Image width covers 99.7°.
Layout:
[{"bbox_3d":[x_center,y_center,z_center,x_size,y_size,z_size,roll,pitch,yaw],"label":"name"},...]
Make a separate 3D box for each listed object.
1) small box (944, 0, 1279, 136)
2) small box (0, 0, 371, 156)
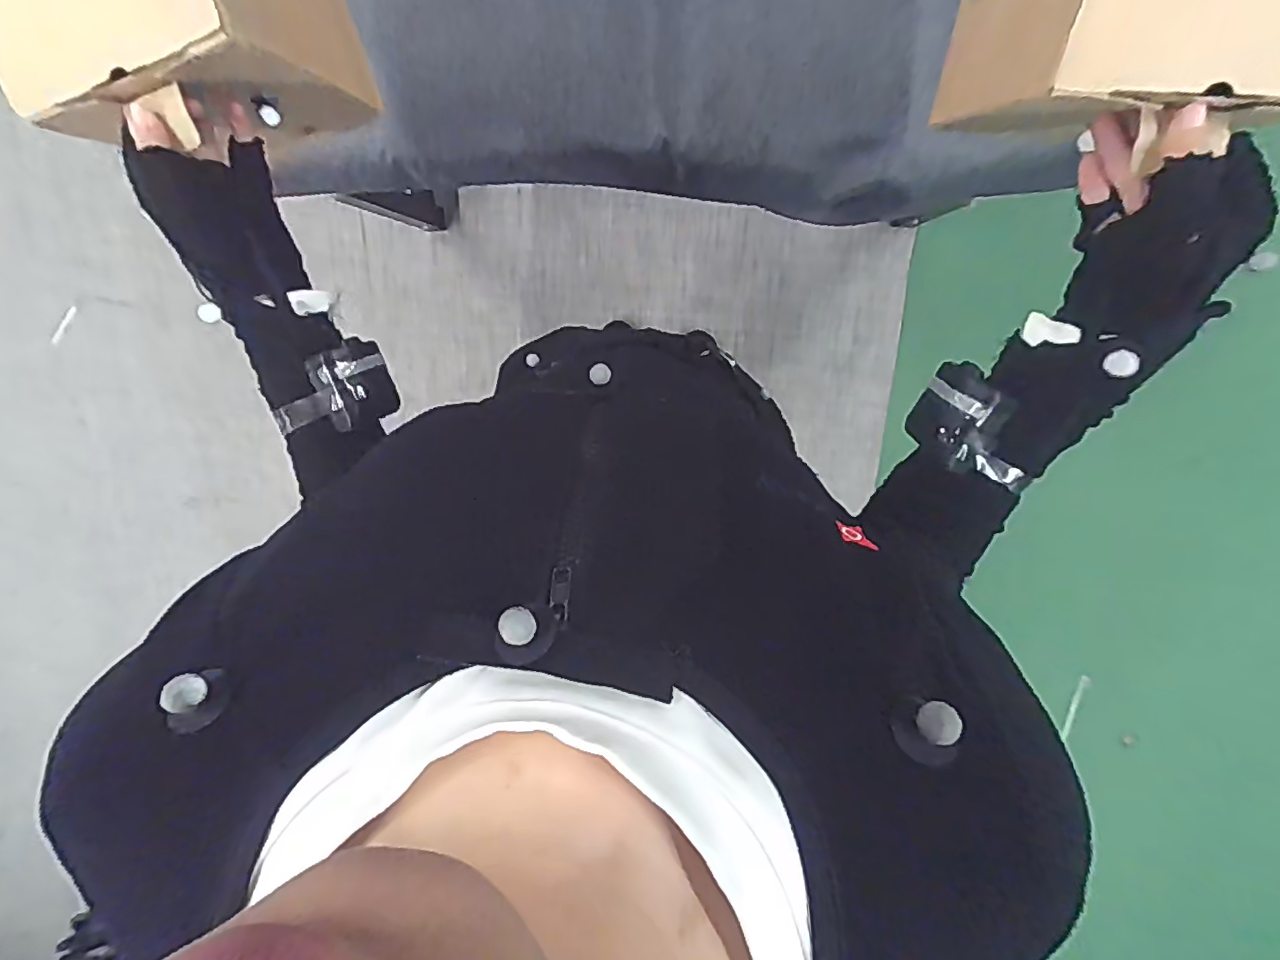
[{"bbox_3d":[0.304,-0.305,0.307,0.168,0.176,0.179,5,119,3],"label":"small box"},{"bbox_3d":[-0.325,-0.348,0.372,0.168,0.176,0.179,-12,107,11],"label":"small box"}]
